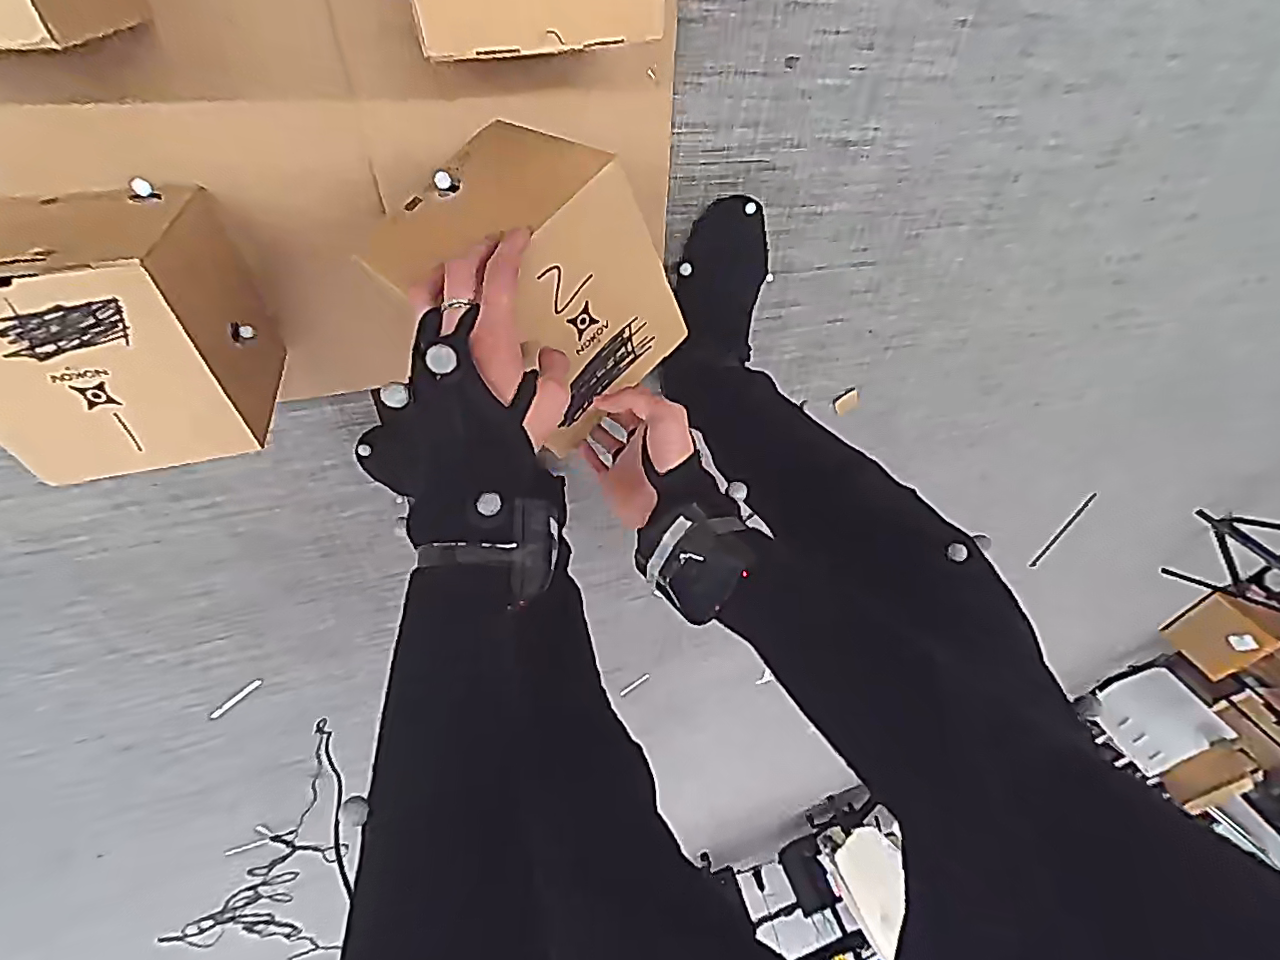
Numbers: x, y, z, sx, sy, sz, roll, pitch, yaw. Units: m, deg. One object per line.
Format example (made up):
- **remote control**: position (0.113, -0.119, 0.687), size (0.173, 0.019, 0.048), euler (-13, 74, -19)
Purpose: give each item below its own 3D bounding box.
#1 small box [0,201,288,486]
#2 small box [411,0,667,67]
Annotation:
- **small box**: position (-0.437, -0.126, 0.469), size (0.168, 0.176, 0.179), euler (-12, 137, -13)
- **small box**: position (-0.086, -0.403, 0.365), size (0.168, 0.176, 0.179), euler (-14, 136, -11)
